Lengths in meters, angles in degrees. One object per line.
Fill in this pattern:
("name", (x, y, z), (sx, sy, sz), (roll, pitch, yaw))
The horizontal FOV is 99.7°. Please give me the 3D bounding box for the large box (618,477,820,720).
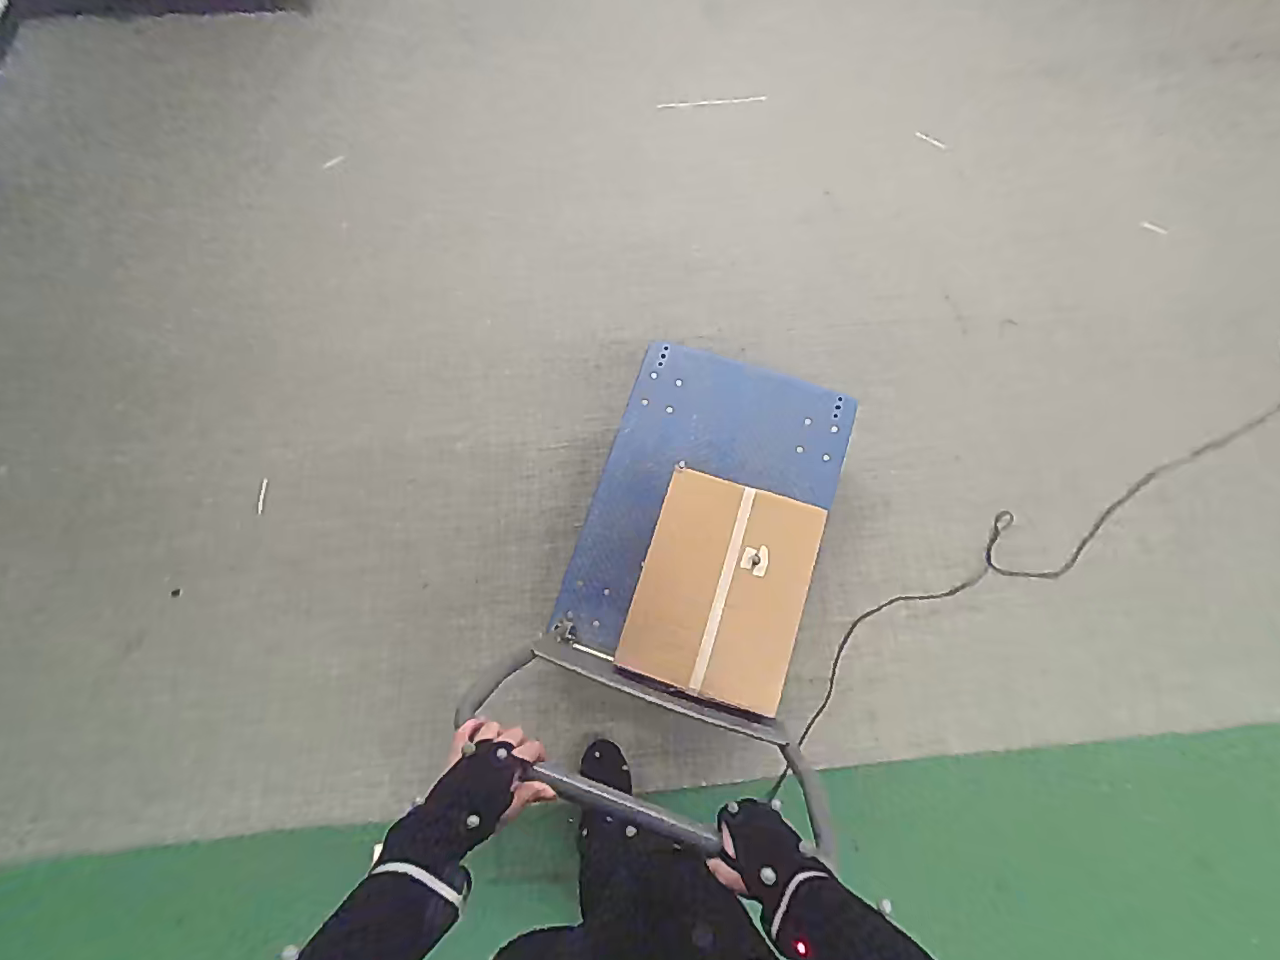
("large box", (0.167, 0.255, 1.199), (0.320, 0.320, 0.408), (17, 78, 7))
